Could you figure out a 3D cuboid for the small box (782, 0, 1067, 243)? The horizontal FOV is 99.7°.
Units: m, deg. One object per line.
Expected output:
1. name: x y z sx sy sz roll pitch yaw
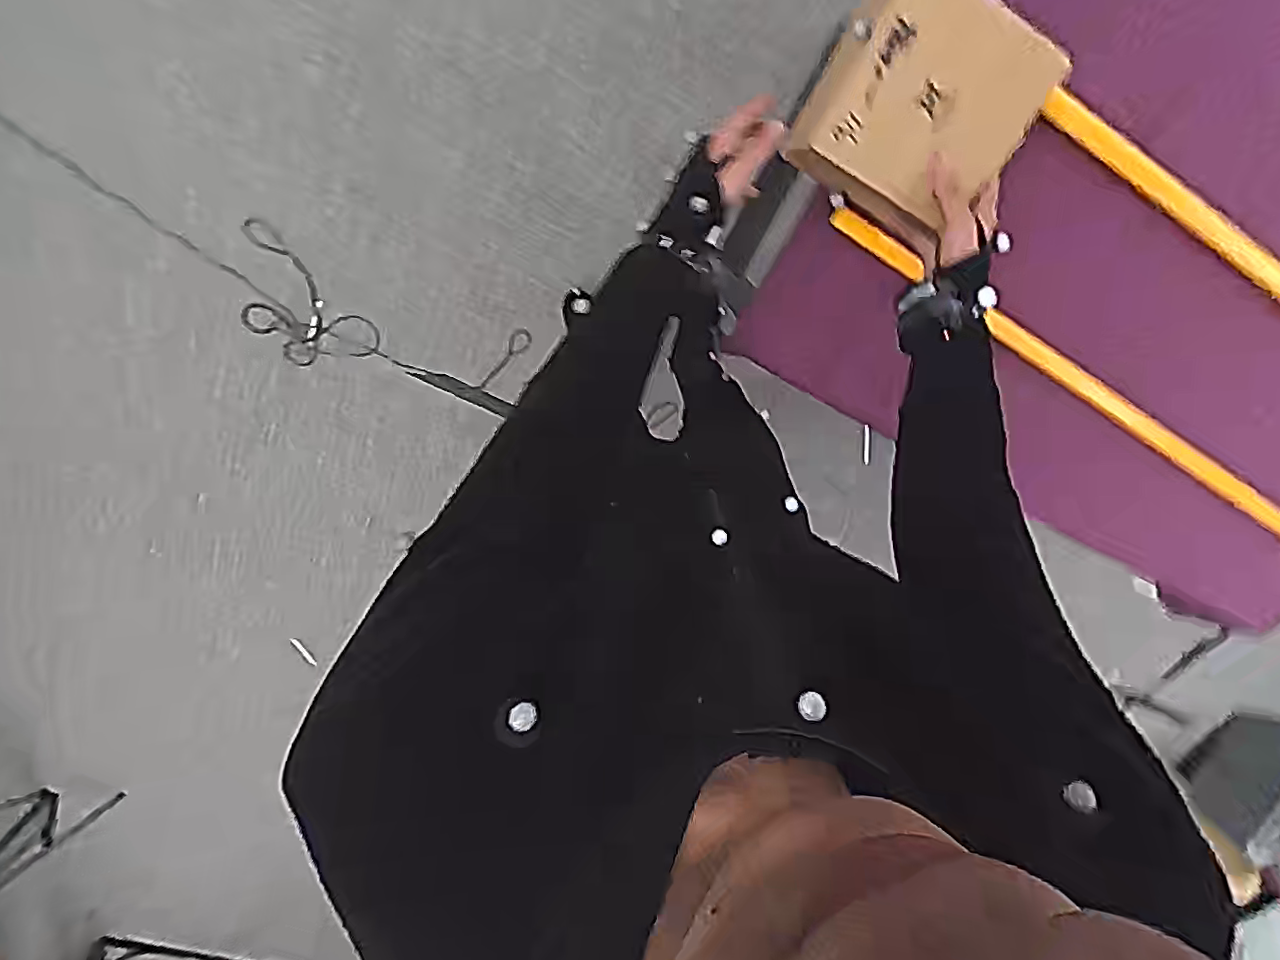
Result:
1. small box: 0.281 -0.384 0.580 0.179 0.176 0.168 26 116 -12
